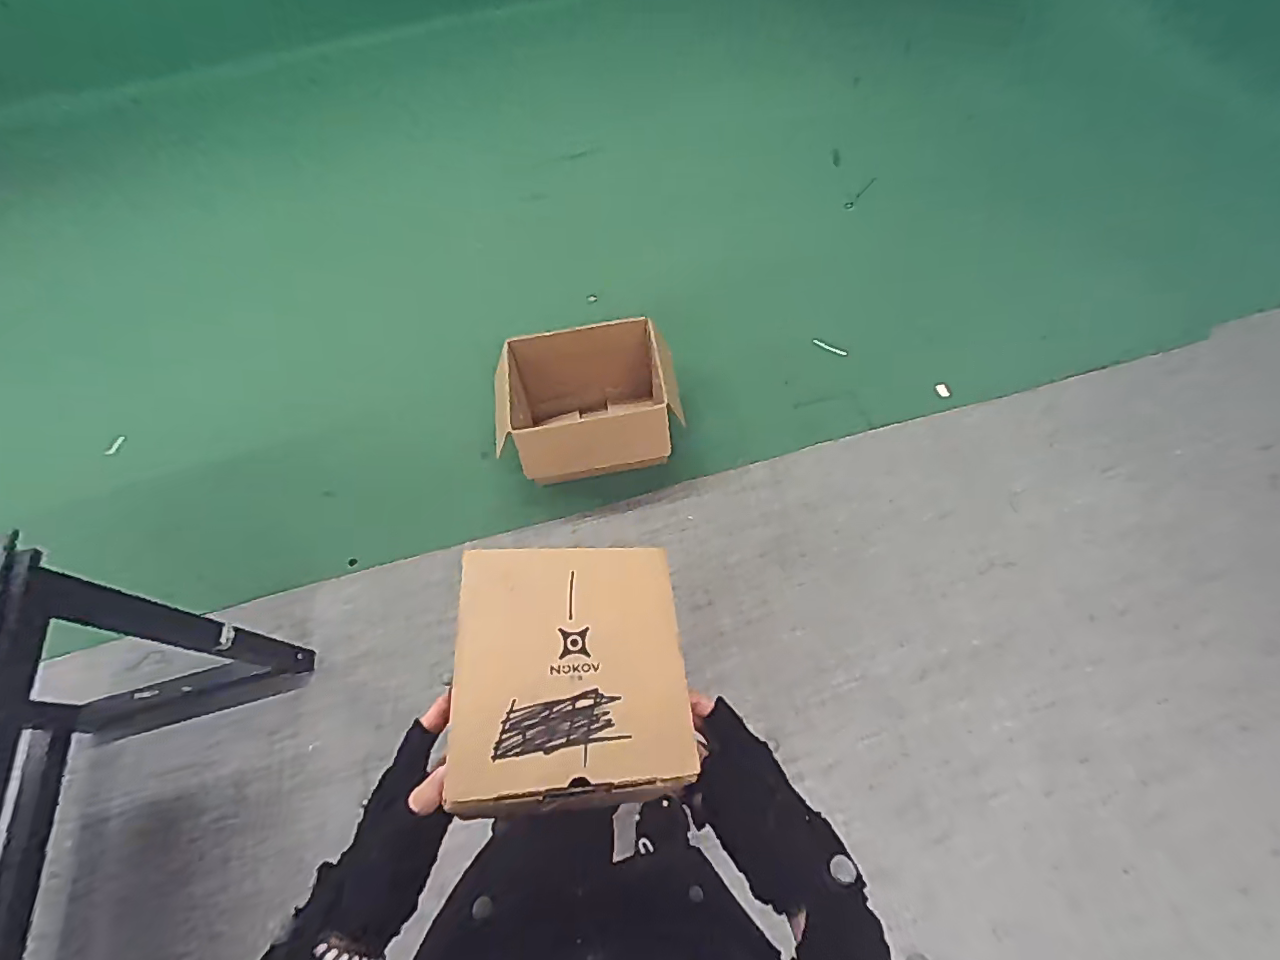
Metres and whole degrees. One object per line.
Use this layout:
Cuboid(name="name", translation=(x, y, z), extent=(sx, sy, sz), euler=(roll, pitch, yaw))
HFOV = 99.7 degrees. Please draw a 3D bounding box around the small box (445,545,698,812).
Cuboid(name="small box", translation=(-0.062, 0.170, 0.455), extent=(0.168, 0.176, 0.179), euler=(2, 54, -13))
